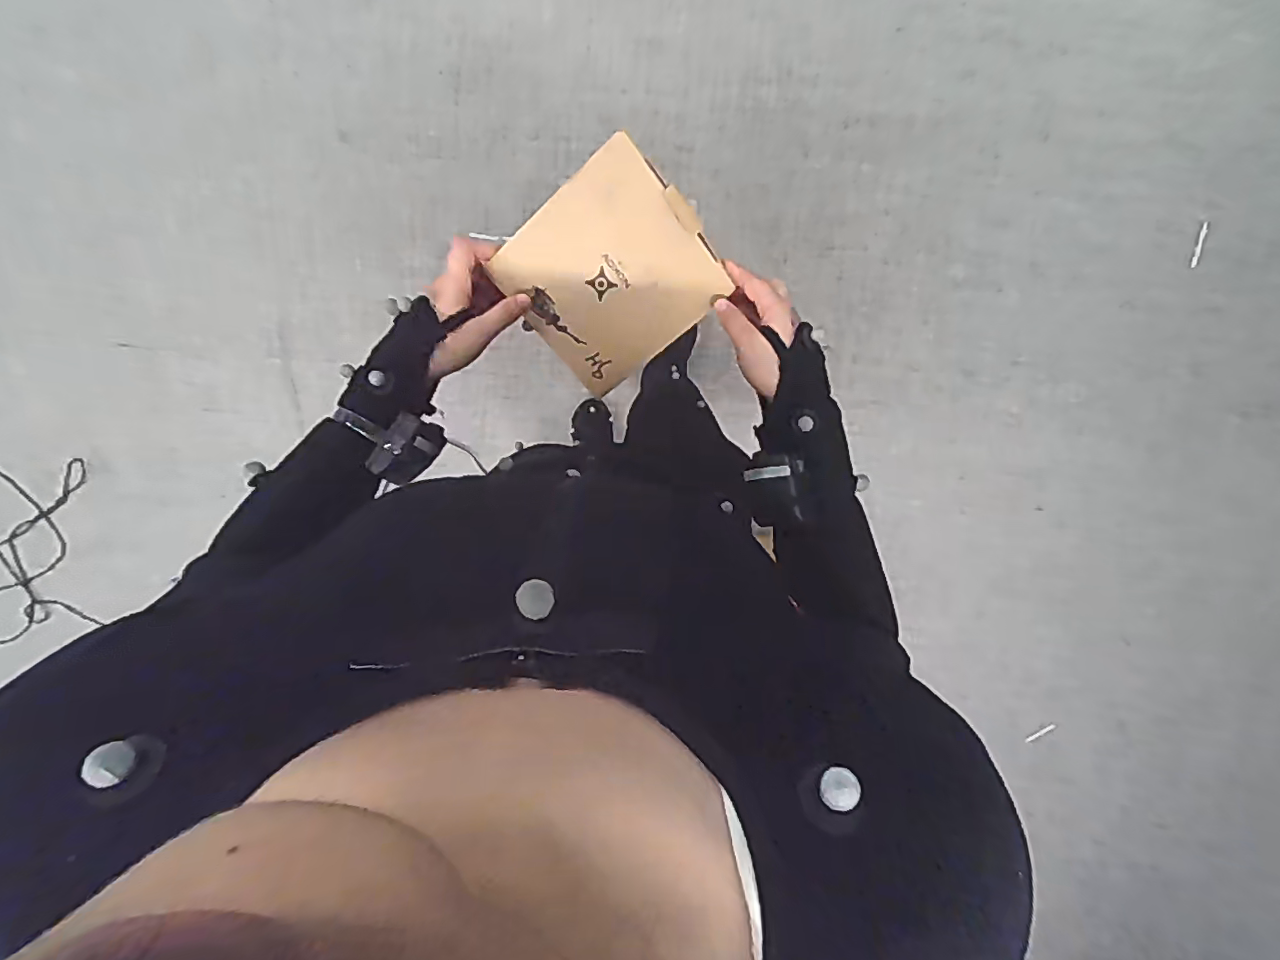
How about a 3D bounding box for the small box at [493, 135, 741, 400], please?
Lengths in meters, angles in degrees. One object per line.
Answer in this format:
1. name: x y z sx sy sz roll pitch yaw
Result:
1. small box: -0.019 -0.220 0.570 0.179 0.176 0.168 -35 109 18
